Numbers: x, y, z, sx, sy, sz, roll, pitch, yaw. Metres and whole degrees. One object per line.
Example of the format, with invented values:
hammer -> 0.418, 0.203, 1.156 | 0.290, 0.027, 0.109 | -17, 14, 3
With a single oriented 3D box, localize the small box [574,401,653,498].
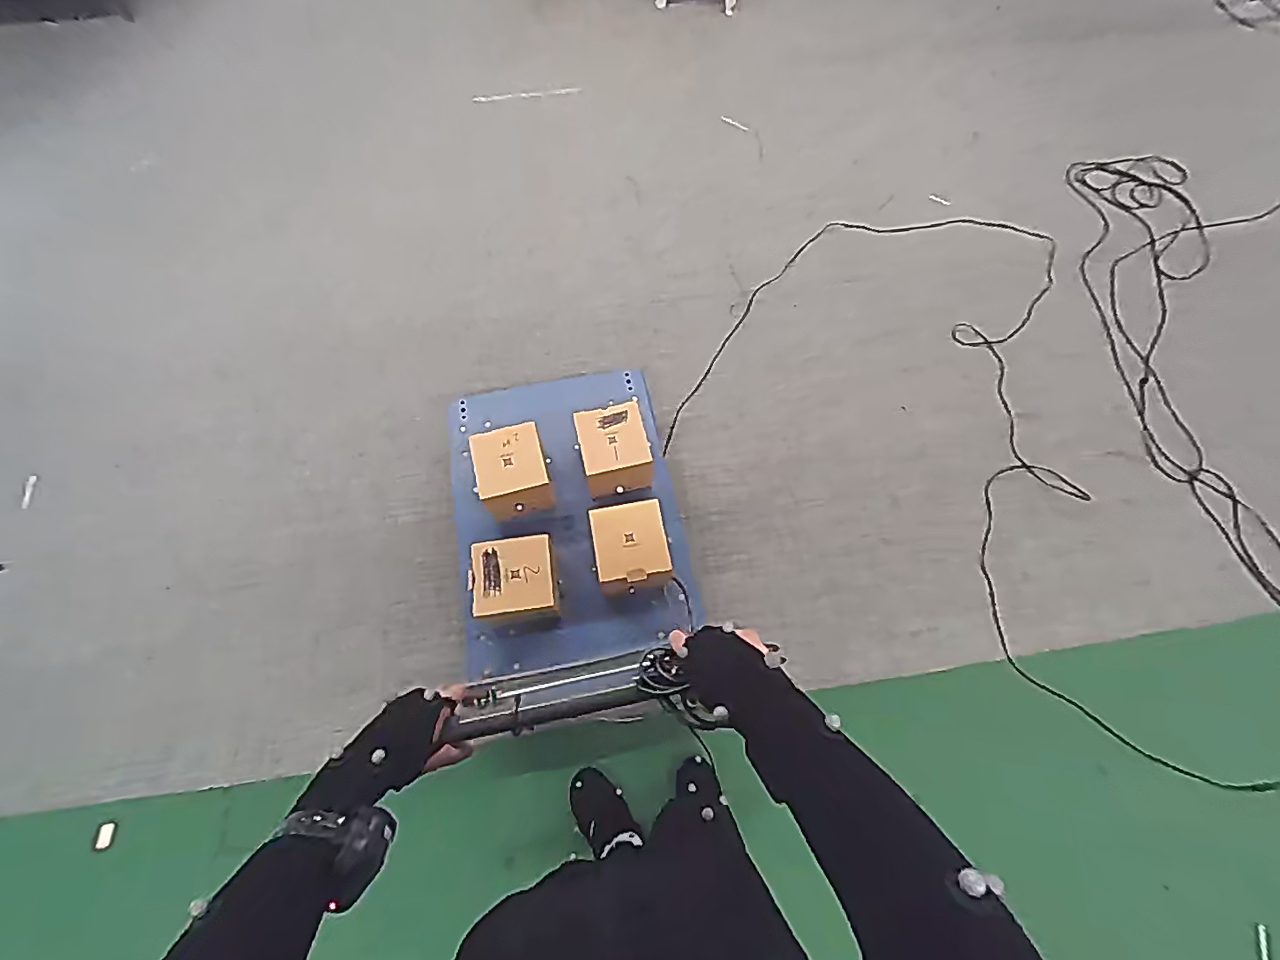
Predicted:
small box -> -0.068, -0.075, 1.397 | 0.168, 0.176, 0.179 | -13, 69, -5

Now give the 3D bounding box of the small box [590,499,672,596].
small box -> -0.024, 0.166, 1.300 | 0.168, 0.176, 0.179 | -10, 68, -4

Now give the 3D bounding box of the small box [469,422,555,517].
small box -> -0.318, -0.018, 1.371 | 0.168, 0.176, 0.179 | -14, 68, -7
